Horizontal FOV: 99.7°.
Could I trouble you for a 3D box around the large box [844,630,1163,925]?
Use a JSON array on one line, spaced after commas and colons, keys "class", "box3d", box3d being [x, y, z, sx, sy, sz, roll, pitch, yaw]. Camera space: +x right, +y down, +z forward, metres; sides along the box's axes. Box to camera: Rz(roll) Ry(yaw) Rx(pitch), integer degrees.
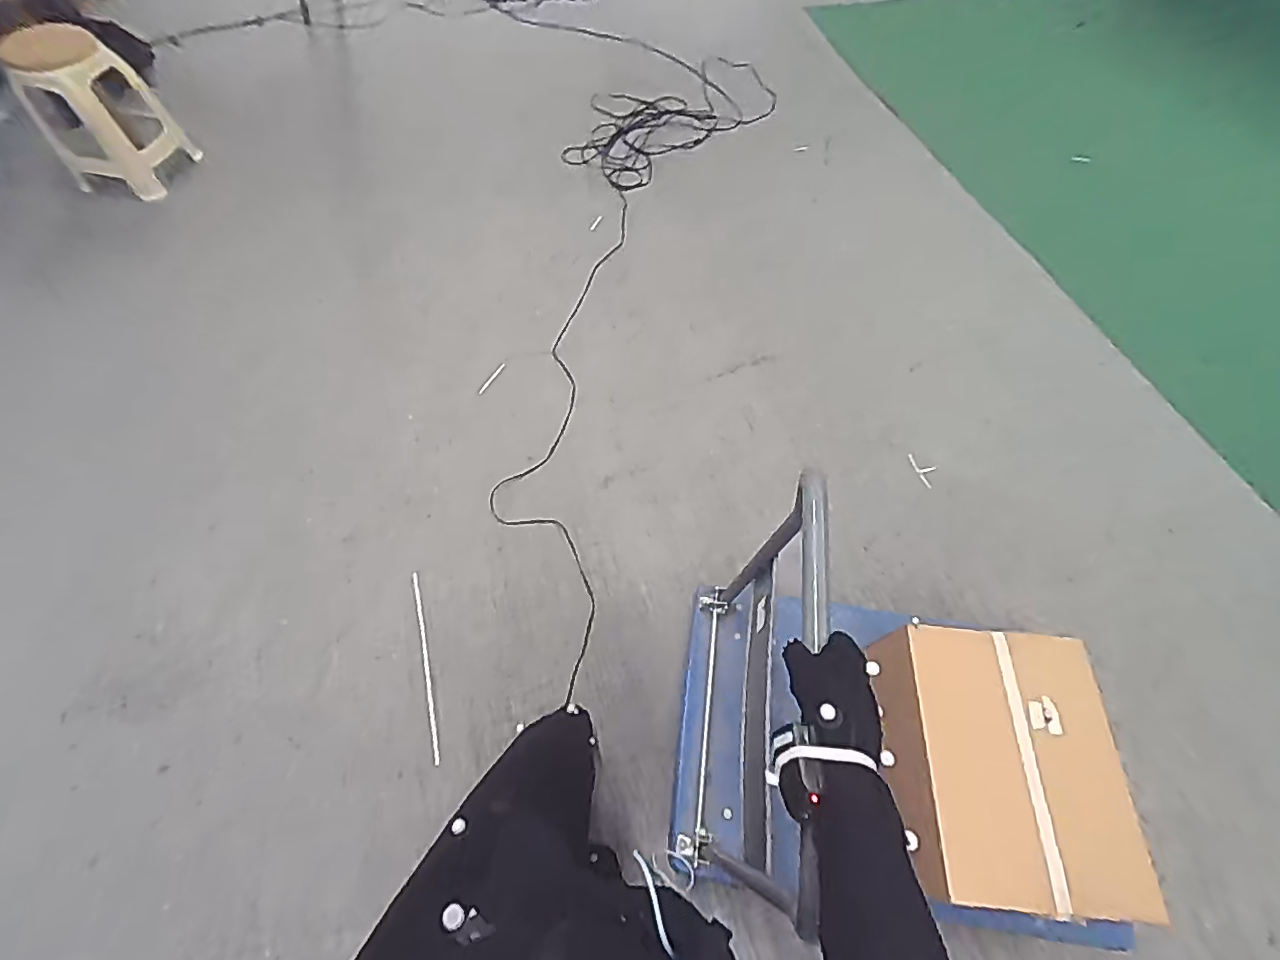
[{"class": "large box", "box3d": [0.597, 0.525, 0.990, 0.320, 0.320, 0.408, 5, 59, 0]}]
